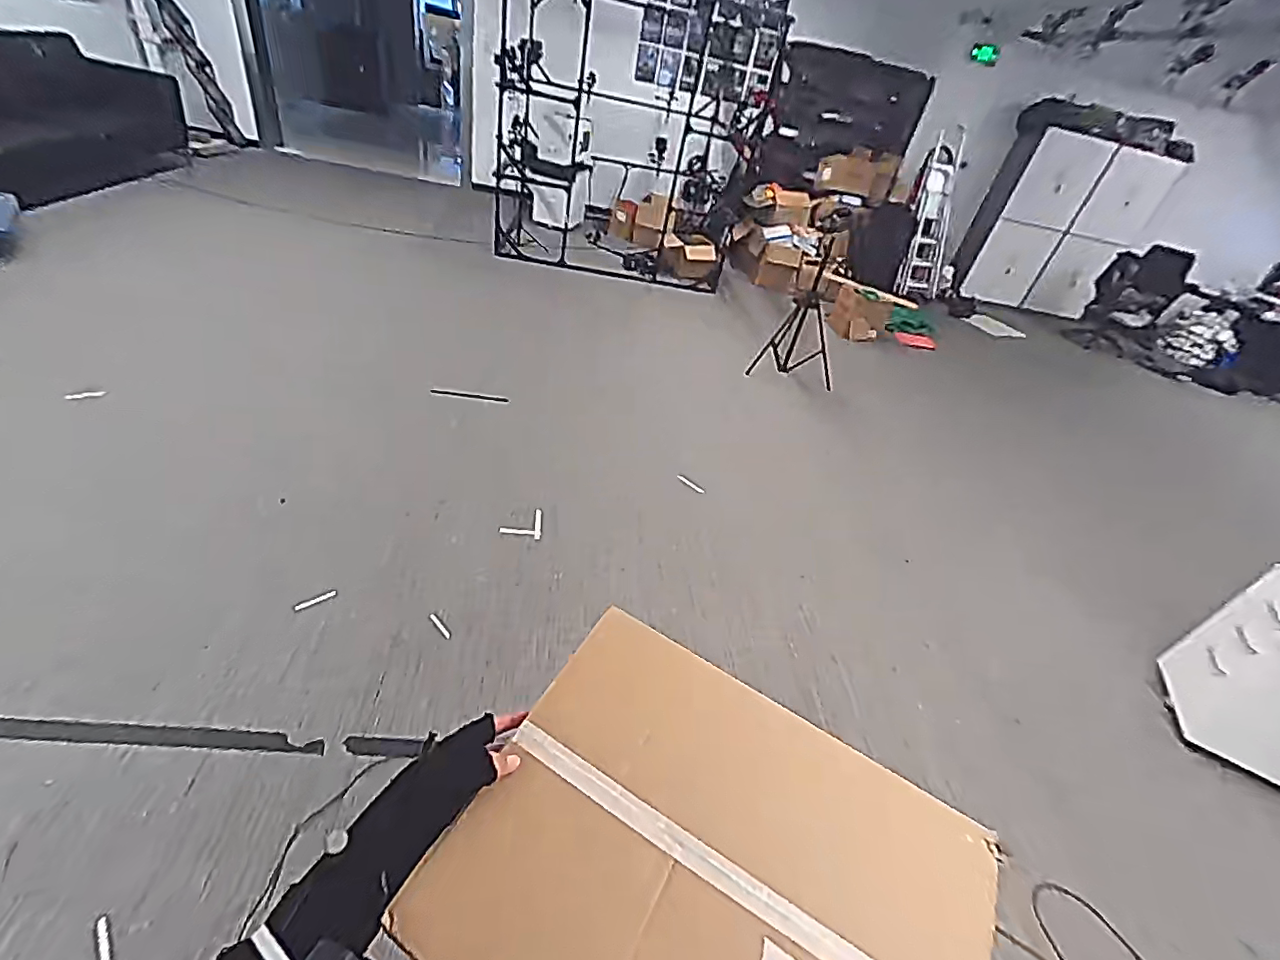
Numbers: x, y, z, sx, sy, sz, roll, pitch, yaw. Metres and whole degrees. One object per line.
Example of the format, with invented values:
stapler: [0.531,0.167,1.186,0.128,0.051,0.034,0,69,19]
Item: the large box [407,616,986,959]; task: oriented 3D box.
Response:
large box: [0.047,0.420,0.546,0.408,0.320,0.320,28,48,16]
